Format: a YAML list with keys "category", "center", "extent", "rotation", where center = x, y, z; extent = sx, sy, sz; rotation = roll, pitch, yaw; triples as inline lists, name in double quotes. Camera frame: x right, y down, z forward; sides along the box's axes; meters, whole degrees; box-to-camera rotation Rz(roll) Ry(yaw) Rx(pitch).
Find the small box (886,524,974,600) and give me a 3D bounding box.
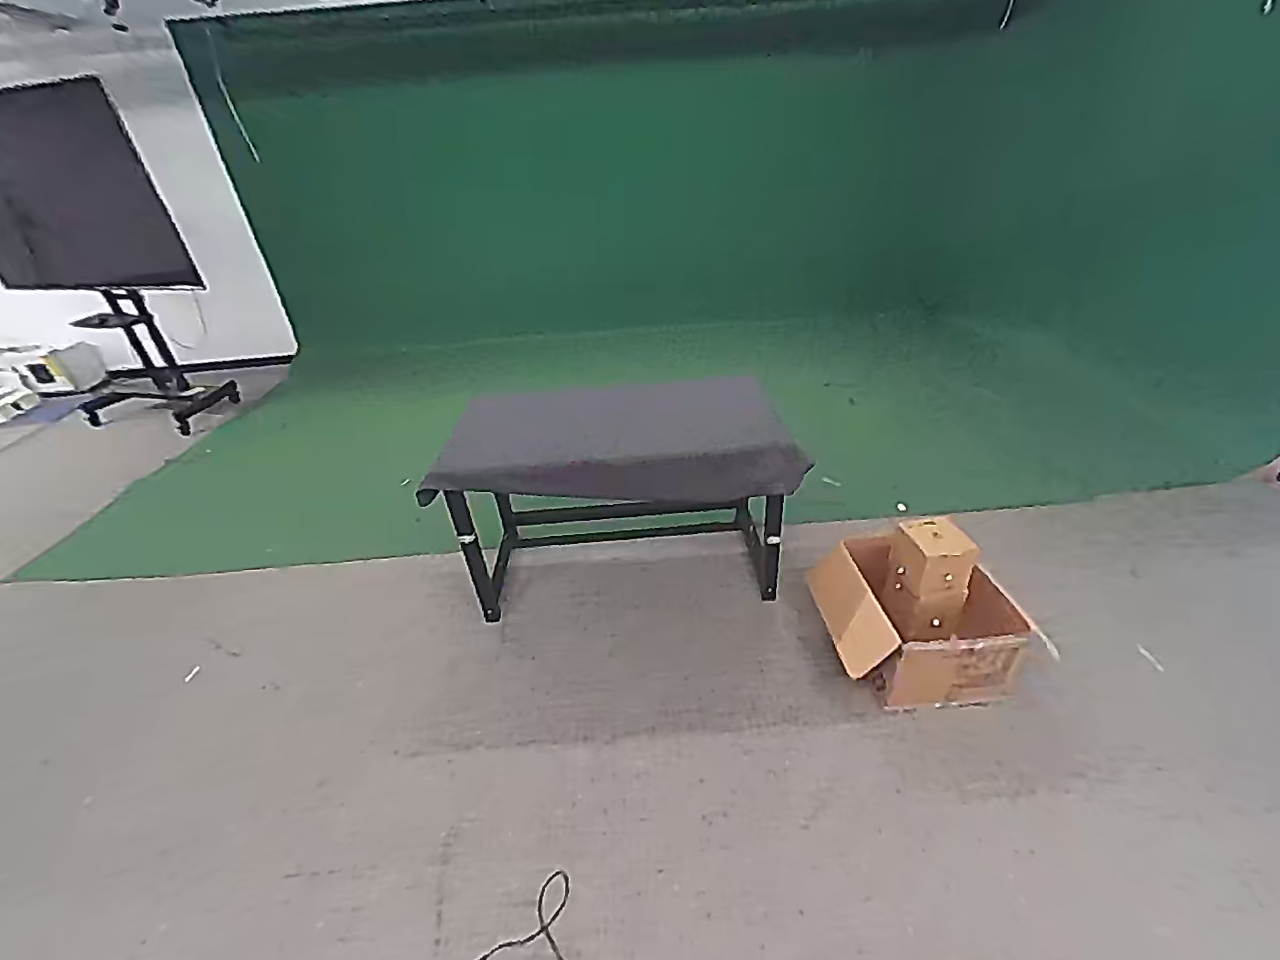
- category: "small box"
  center: [0.919, 0.268, 1.729]
  extent: [0.168, 0.176, 0.179]
  rotation: [-8, 32, -7]
